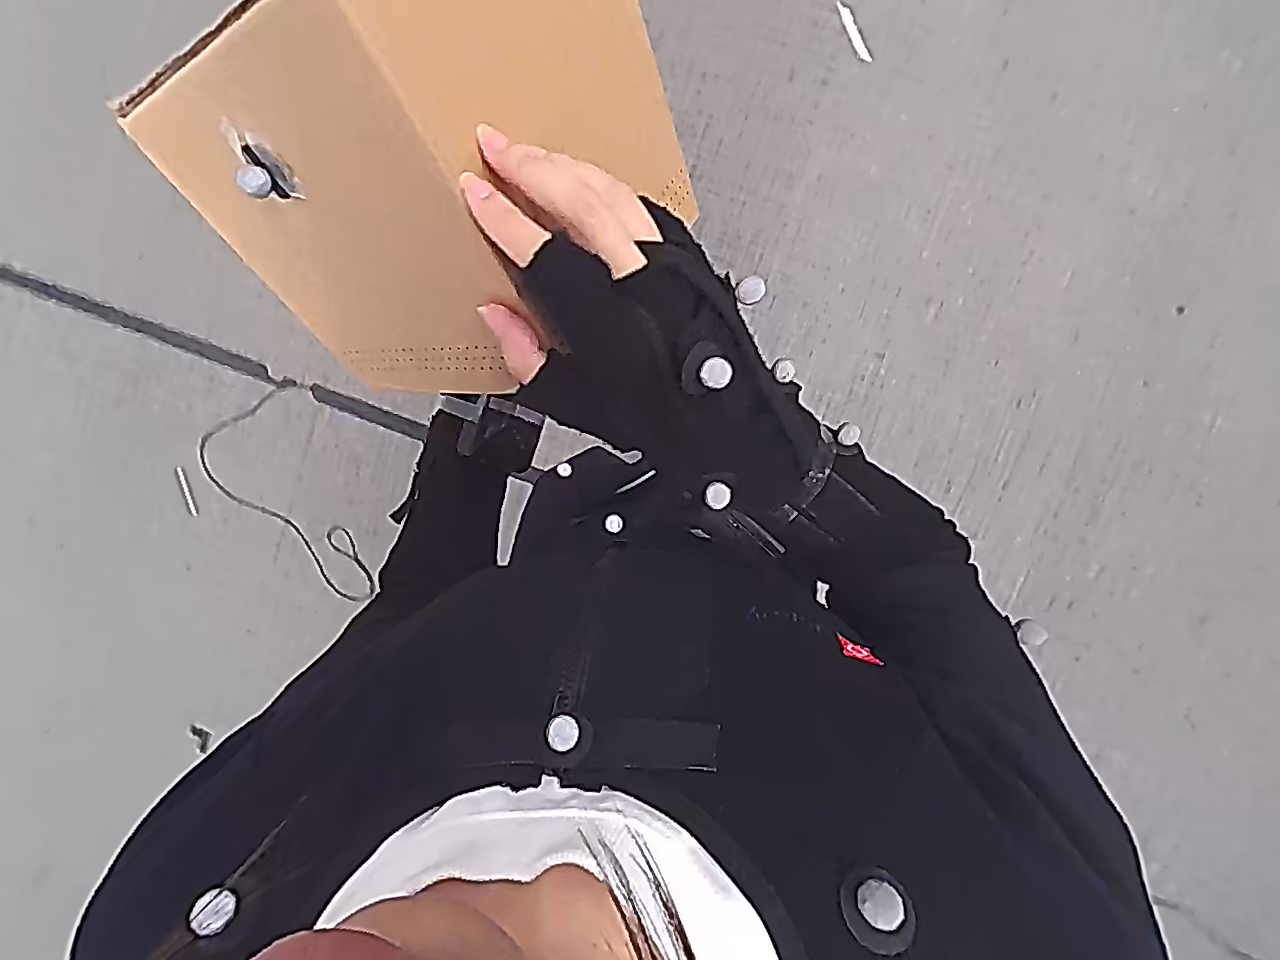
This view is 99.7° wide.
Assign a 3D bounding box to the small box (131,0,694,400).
[{"bbox_3d":[-0.095,-0.158,0.291,0.179,0.176,0.168,6,55,32],"label":"small box"}]
